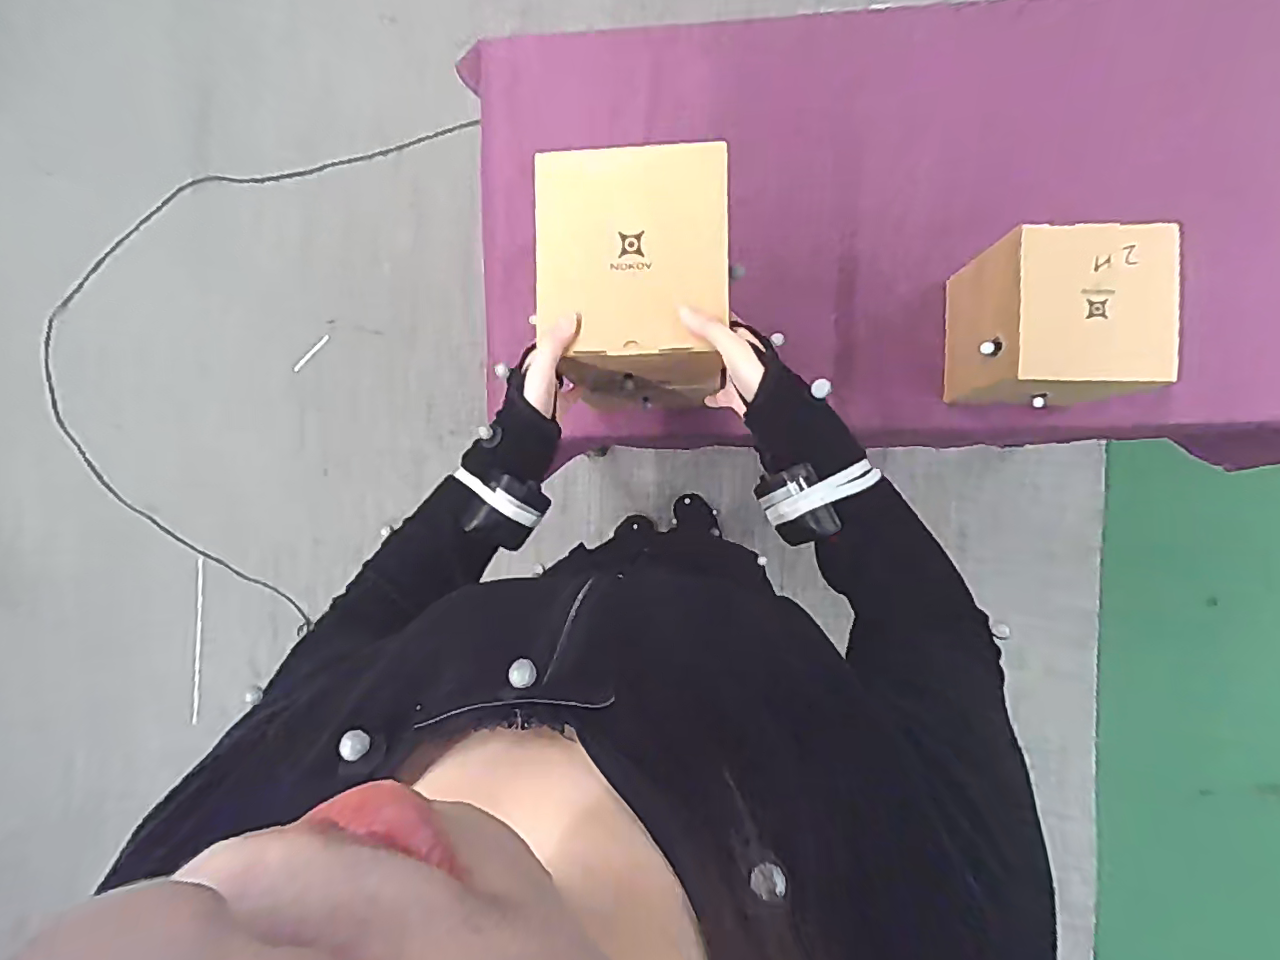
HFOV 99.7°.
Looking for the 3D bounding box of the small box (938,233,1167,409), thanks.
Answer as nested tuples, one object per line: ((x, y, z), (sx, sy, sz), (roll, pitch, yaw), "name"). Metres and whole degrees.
((0.498, -0.186, 0.679), (0.168, 0.176, 0.179), (2, 89, 3), "small box")

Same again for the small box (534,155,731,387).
((-0.007, -0.193, 0.545), (0.168, 0.176, 0.179), (2, 95, 1), "small box")
